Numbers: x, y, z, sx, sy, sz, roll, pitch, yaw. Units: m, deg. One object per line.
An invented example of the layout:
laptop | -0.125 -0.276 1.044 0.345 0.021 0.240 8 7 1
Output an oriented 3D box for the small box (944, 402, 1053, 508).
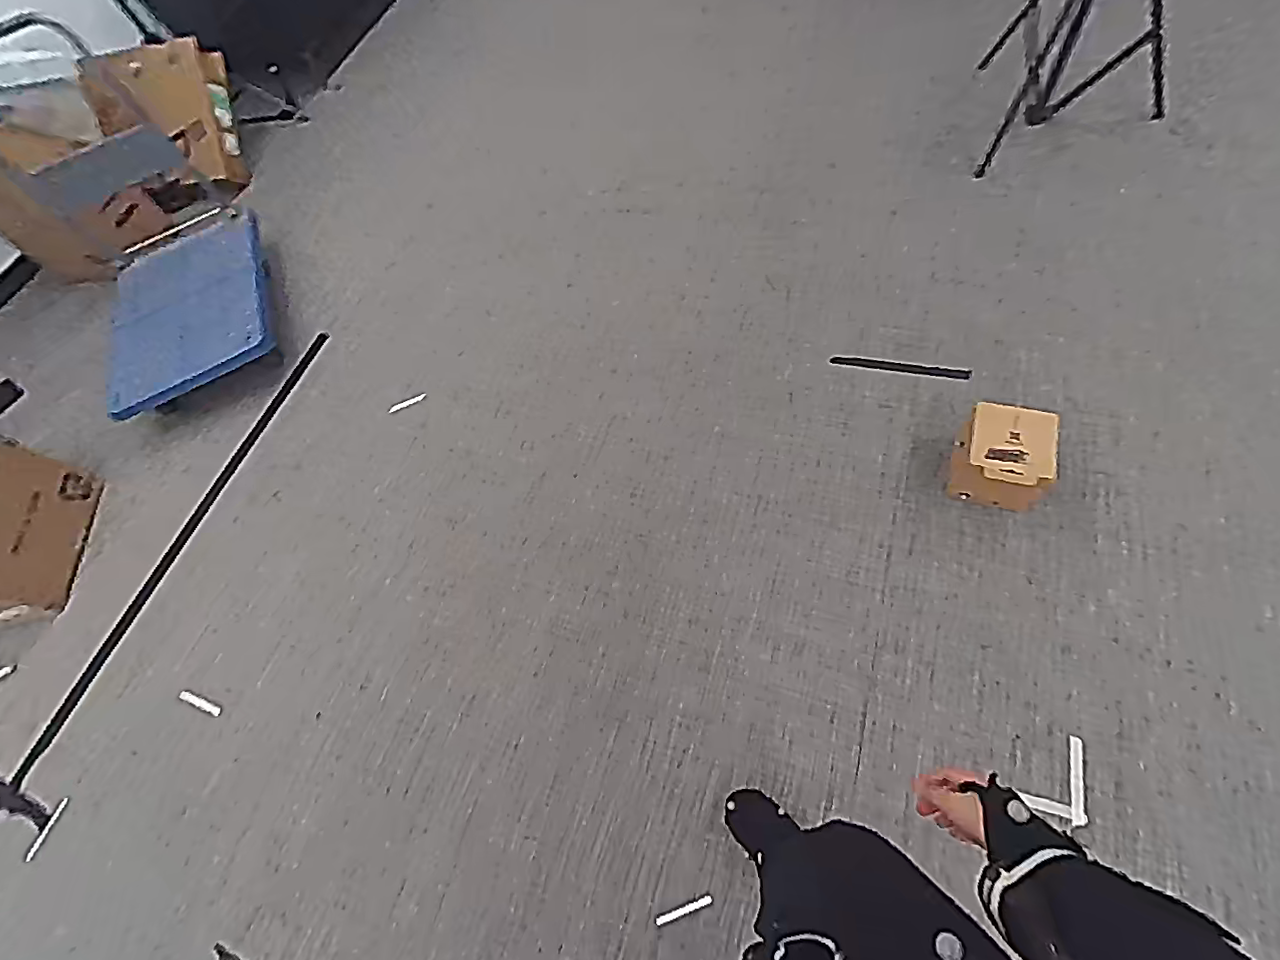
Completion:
small box | 0.827 -0.053 1.261 0.168 0.176 0.179 13 67 17
